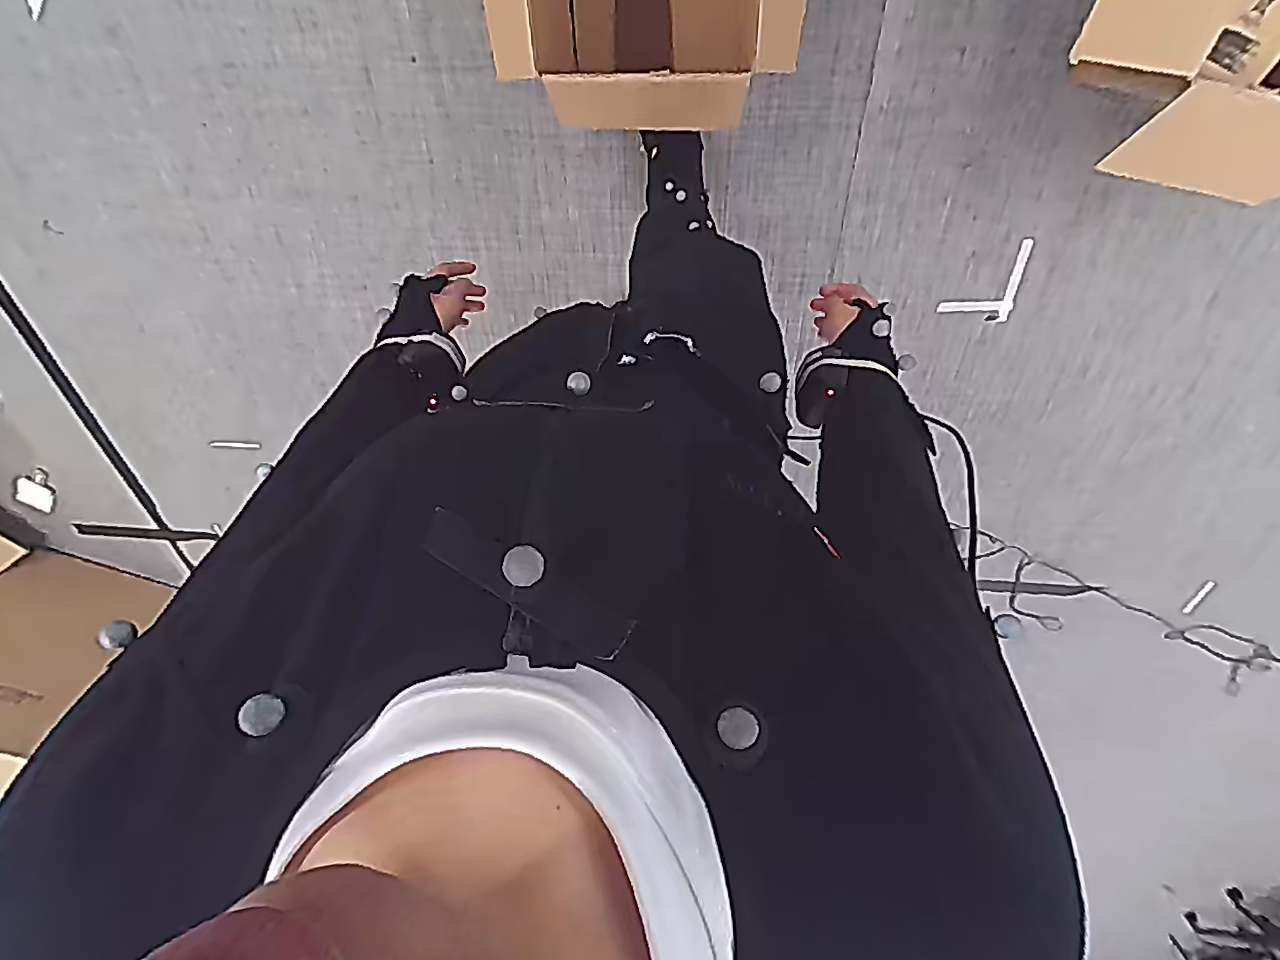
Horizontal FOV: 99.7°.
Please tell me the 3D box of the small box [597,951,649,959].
[{"bbox_3d":[-0.065,1.665,1.756,0.179,0.176,0.168,2,125,4],"label":"small box"}]
